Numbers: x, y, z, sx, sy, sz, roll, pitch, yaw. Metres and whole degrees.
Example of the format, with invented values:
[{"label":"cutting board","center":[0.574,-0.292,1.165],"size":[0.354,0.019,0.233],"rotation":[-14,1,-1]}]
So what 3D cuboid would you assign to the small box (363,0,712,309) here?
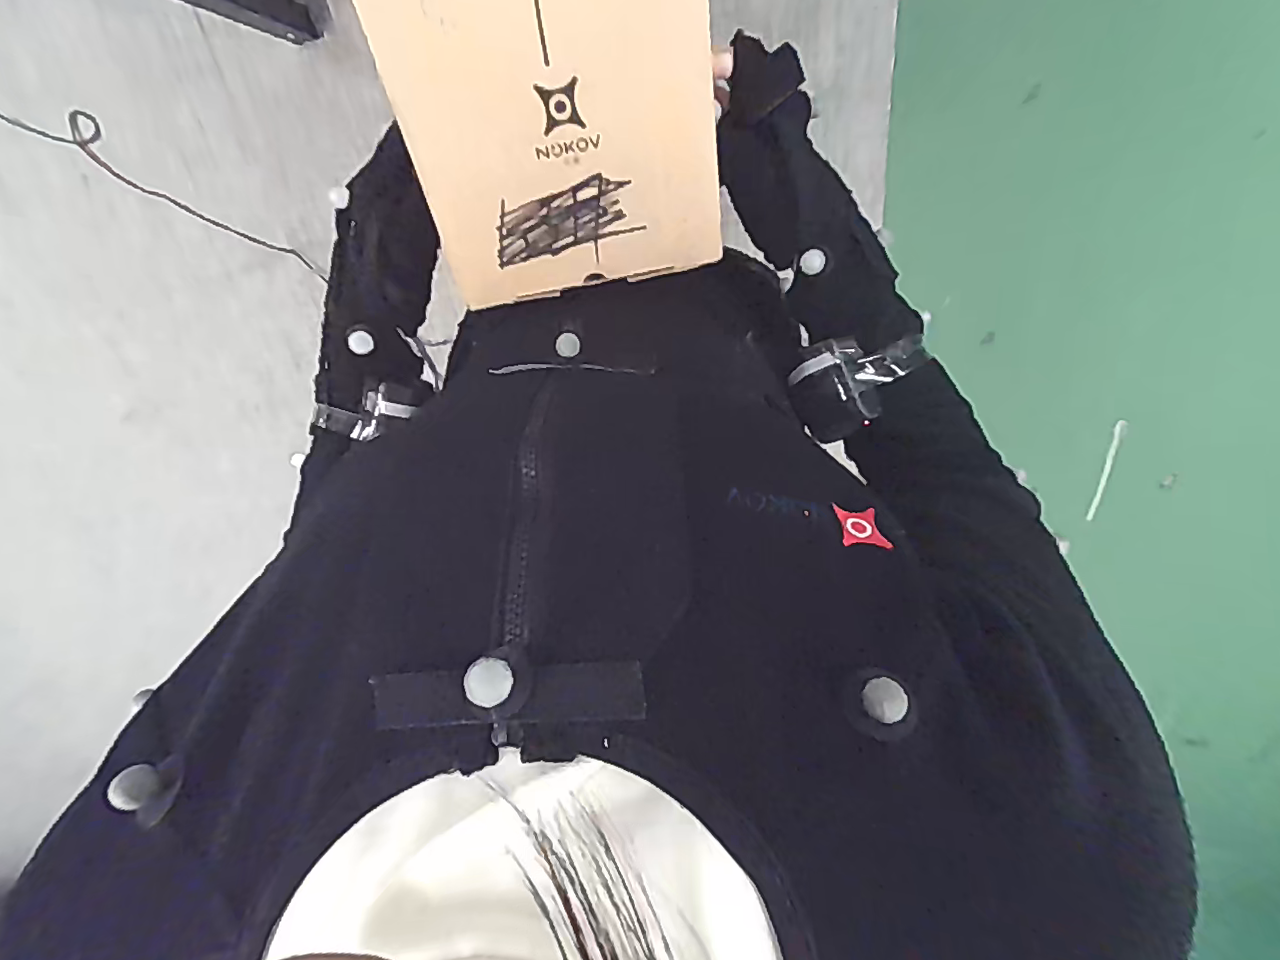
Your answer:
[{"label":"small box","center":[-0.050,-0.241,0.359],"size":[0.168,0.176,0.179],"rotation":[-10,131,0]}]
